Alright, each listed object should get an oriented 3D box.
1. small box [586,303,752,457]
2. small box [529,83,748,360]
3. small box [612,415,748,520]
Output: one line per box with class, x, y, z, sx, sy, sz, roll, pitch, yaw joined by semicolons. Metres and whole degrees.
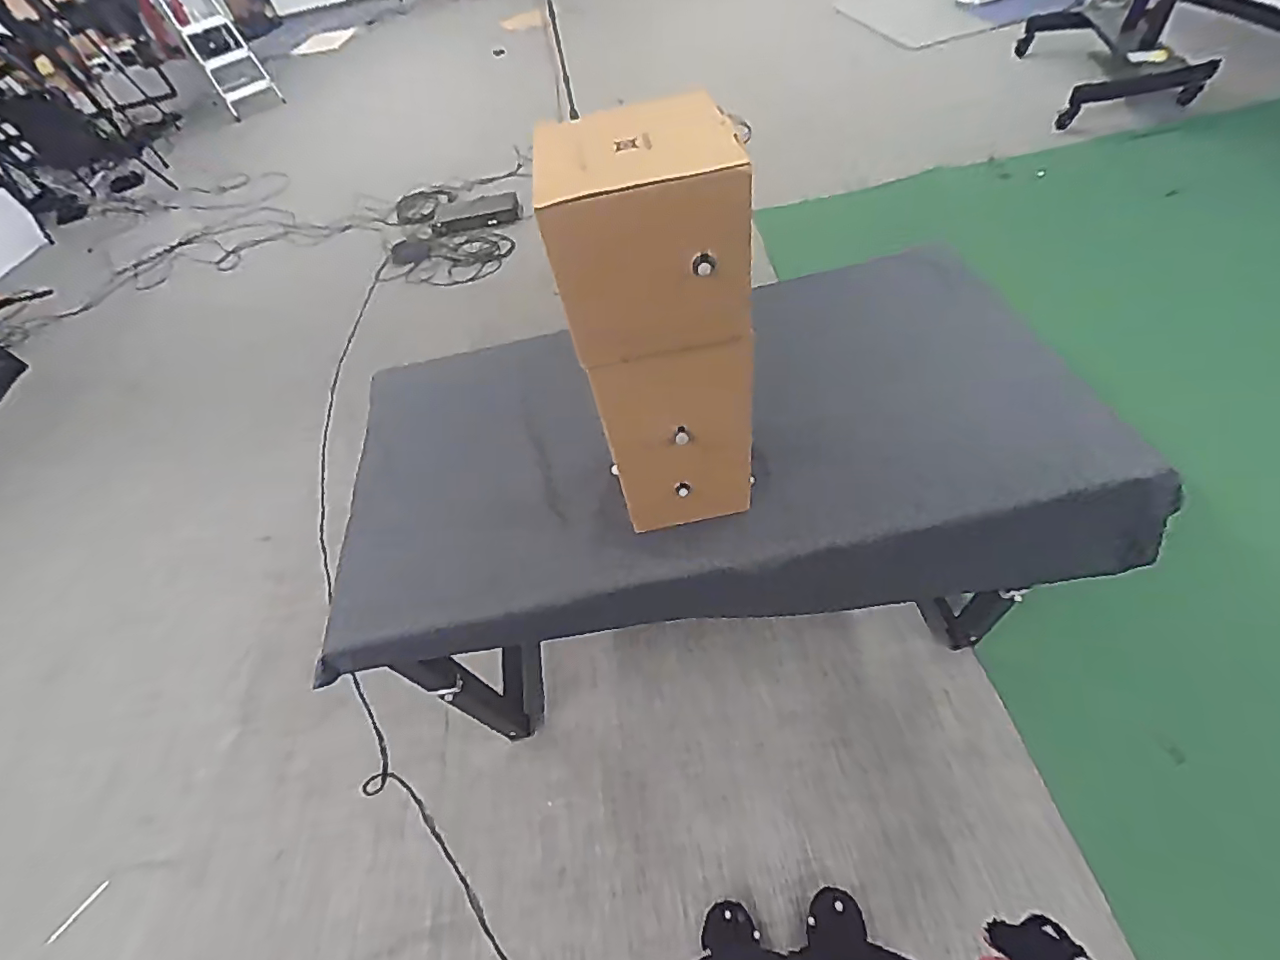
small box;0.029;-0.152;0.663;0.179;0.176;0.168;-14;55;1
small box;0.002;-0.244;0.529;0.179;0.176;0.168;-12;52;4
small box;0.052;-0.062;0.794;0.179;0.176;0.168;-12;53;3
